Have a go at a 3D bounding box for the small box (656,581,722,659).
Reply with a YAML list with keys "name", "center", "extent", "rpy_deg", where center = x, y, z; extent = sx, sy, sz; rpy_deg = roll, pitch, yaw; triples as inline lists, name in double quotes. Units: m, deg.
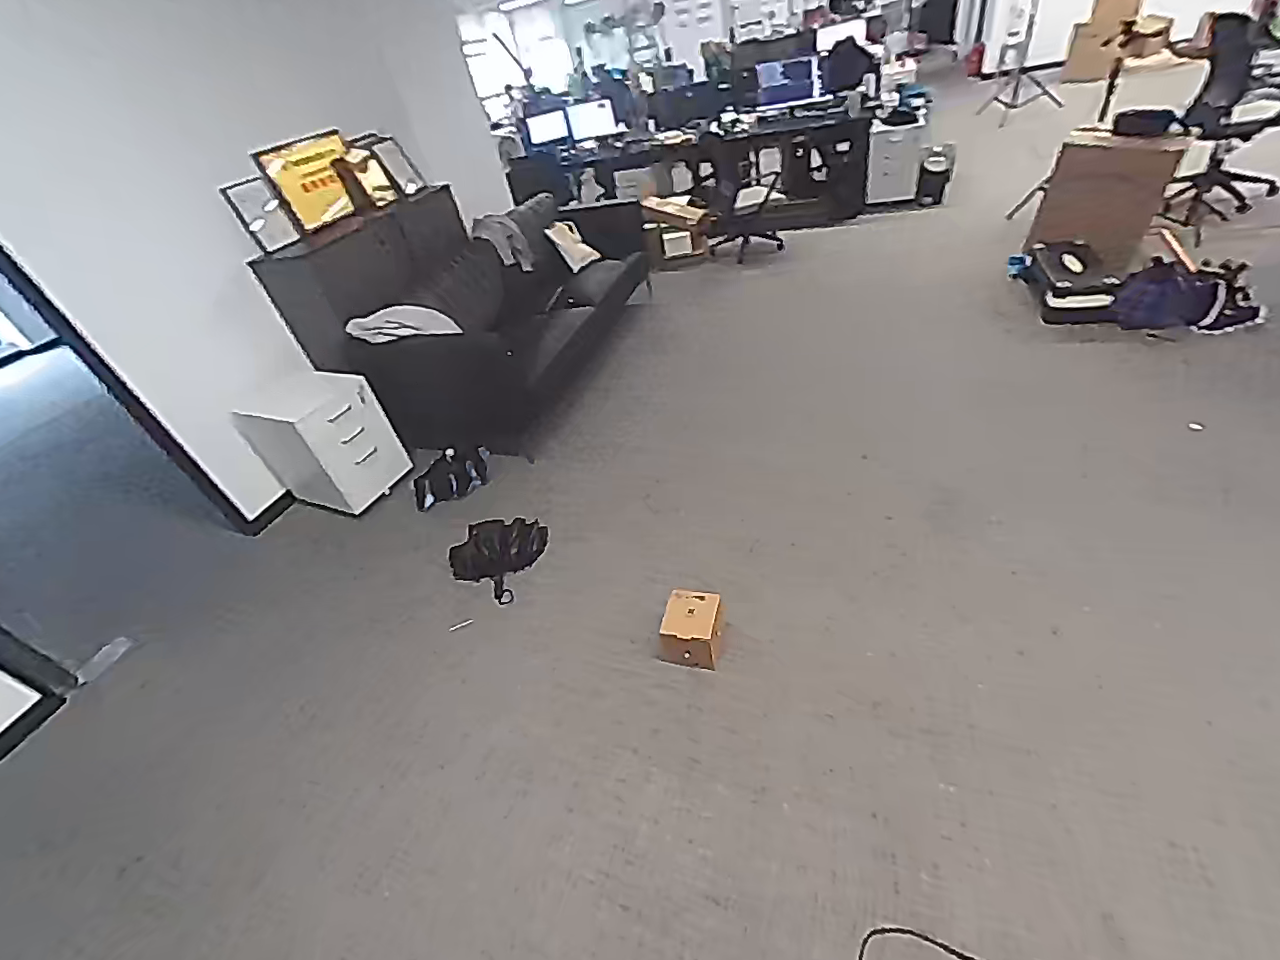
- name: "small box"
  center: [0.166, 0.456, 1.754]
  extent: [0.168, 0.176, 0.179]
  rpy_deg: [3, 44, 20]
